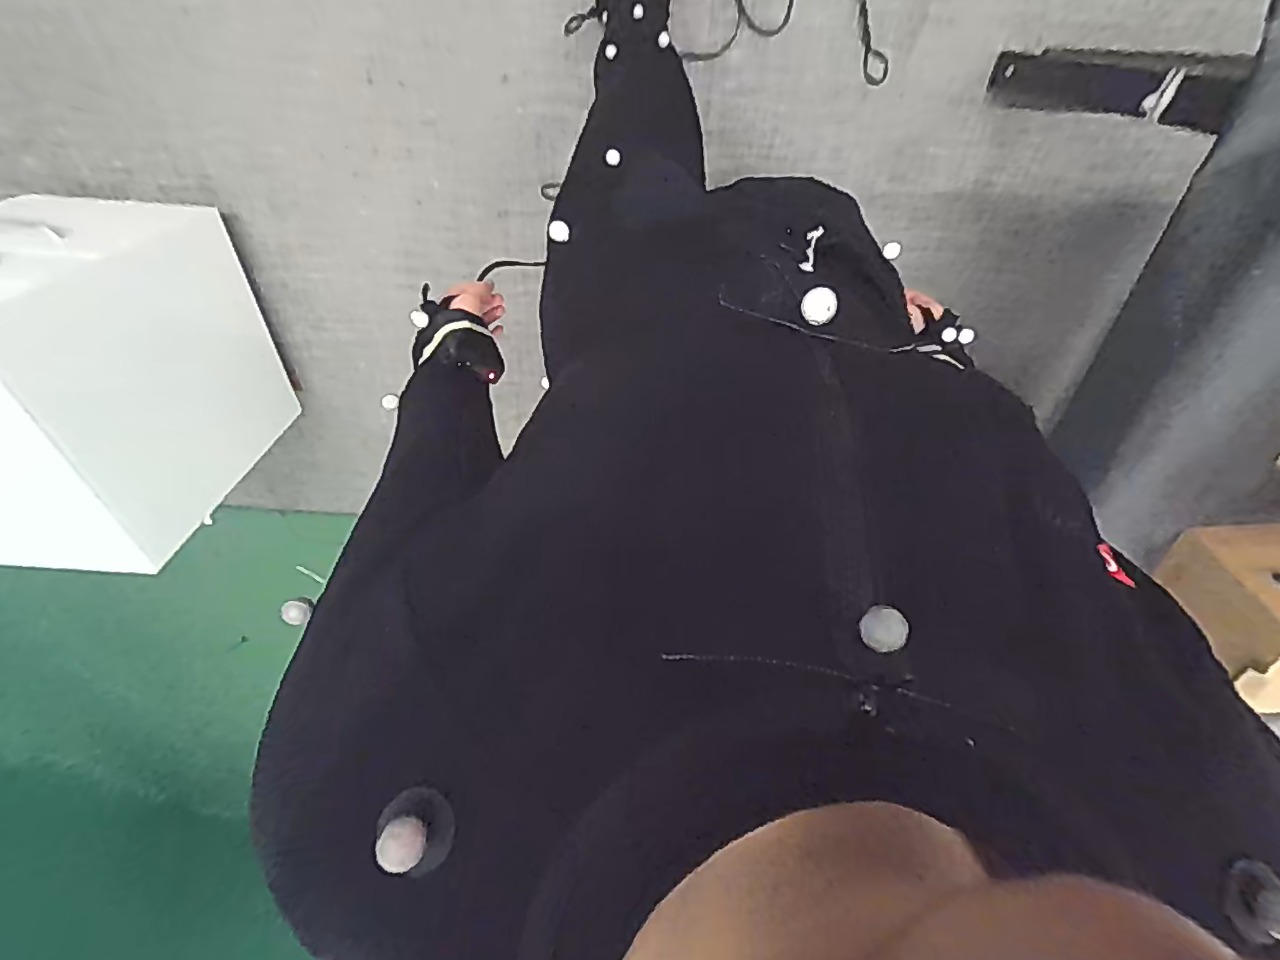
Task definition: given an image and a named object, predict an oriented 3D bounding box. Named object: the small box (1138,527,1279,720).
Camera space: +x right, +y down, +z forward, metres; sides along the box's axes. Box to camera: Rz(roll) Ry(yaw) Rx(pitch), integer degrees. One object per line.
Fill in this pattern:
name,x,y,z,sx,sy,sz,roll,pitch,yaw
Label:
small box,0.780,0.169,0.659,0.179,0.176,0.168,-6,131,6
